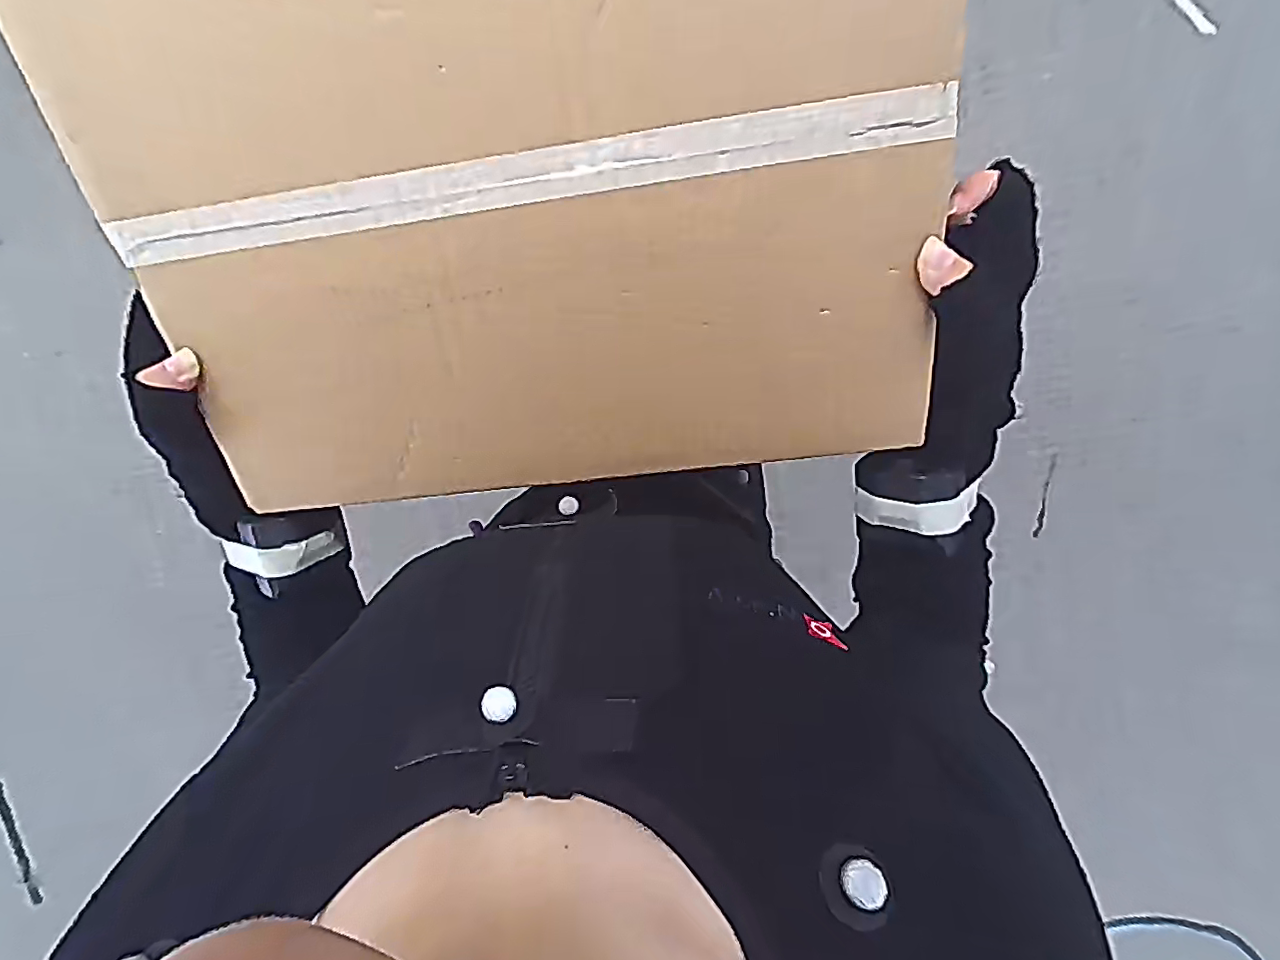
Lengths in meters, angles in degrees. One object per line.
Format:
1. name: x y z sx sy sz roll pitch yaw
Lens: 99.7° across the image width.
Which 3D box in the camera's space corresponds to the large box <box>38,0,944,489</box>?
1. large box: -0.058 -0.216 0.398 0.408 0.320 0.320 -6 116 5
